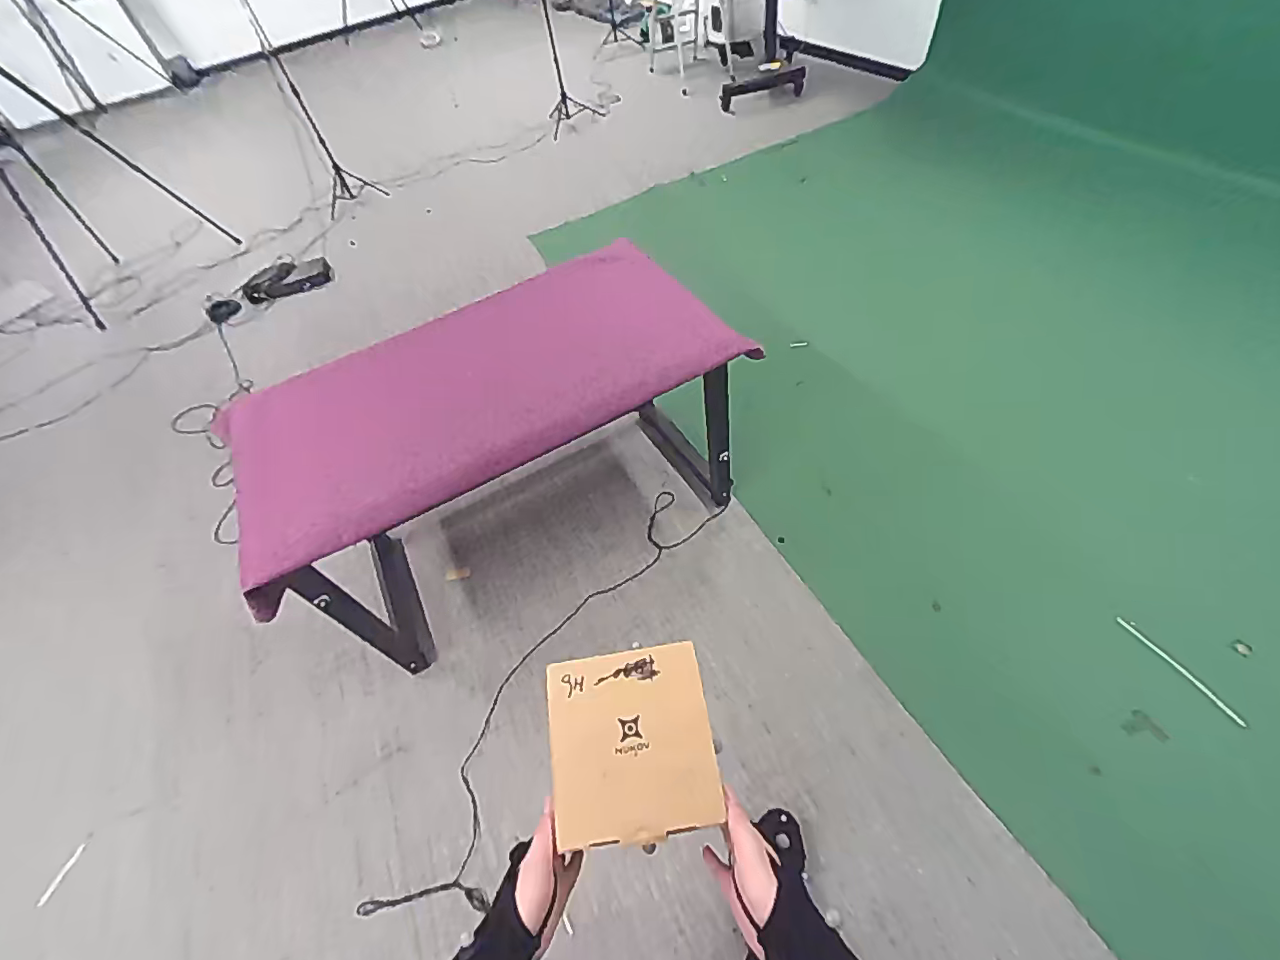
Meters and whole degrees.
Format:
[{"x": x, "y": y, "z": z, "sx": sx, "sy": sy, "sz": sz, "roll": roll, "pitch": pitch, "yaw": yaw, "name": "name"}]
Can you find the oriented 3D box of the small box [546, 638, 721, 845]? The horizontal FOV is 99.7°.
[{"x": -0.008, "y": 0.297, "z": 0.622, "sx": 0.168, "sy": 0.176, "sz": 0.179, "roll": -8, "pitch": 60, "yaw": -2, "name": "small box"}]
